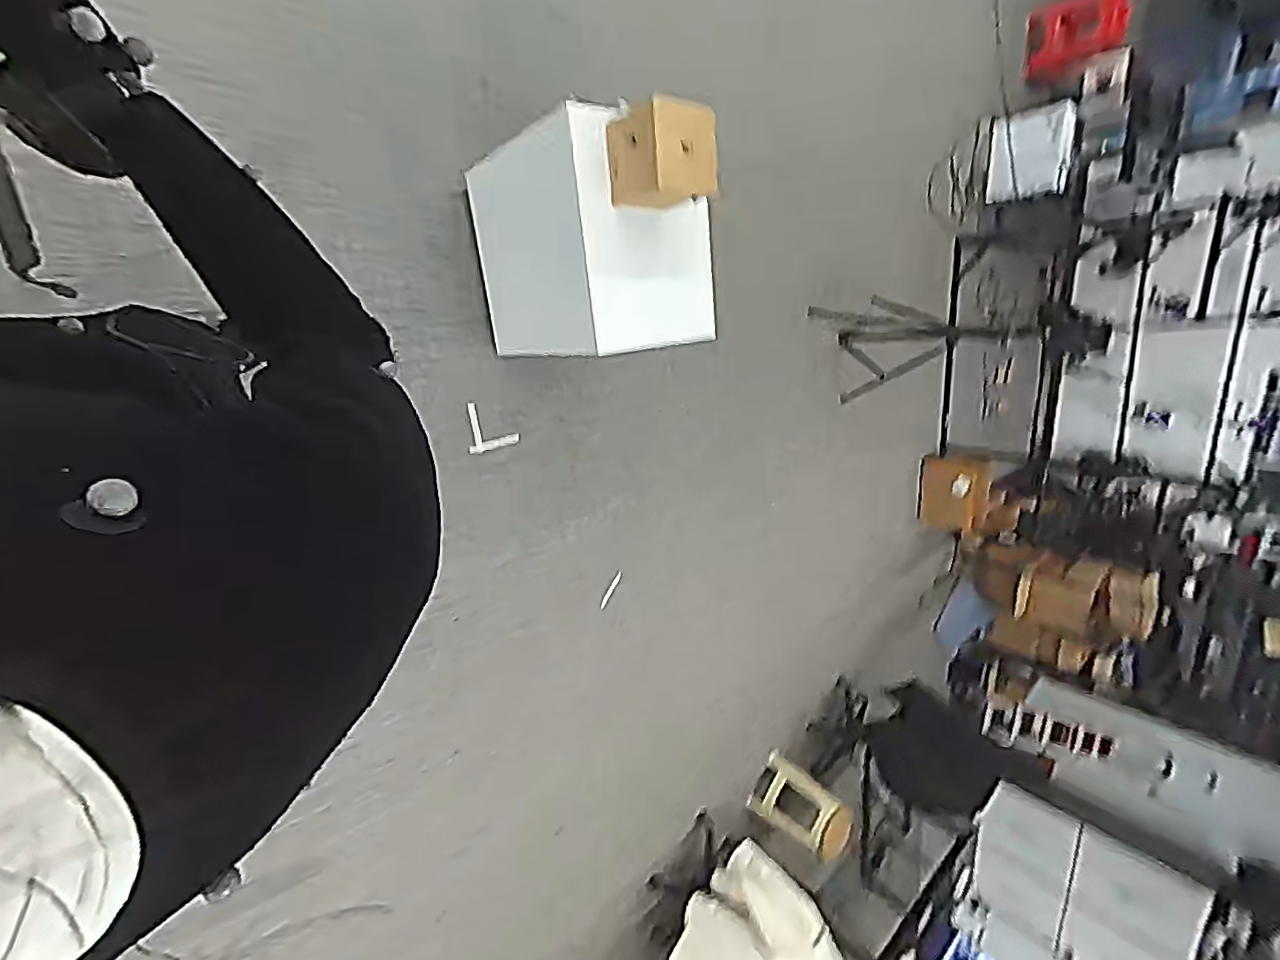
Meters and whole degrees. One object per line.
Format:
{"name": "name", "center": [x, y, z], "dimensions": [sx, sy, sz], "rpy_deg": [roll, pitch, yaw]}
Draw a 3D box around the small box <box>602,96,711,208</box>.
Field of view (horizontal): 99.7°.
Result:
{"name": "small box", "center": [0.031, -0.699, 1.173], "dimensions": [0.179, 0.176, 0.168], "rpy_deg": [-19, 112, -36]}
